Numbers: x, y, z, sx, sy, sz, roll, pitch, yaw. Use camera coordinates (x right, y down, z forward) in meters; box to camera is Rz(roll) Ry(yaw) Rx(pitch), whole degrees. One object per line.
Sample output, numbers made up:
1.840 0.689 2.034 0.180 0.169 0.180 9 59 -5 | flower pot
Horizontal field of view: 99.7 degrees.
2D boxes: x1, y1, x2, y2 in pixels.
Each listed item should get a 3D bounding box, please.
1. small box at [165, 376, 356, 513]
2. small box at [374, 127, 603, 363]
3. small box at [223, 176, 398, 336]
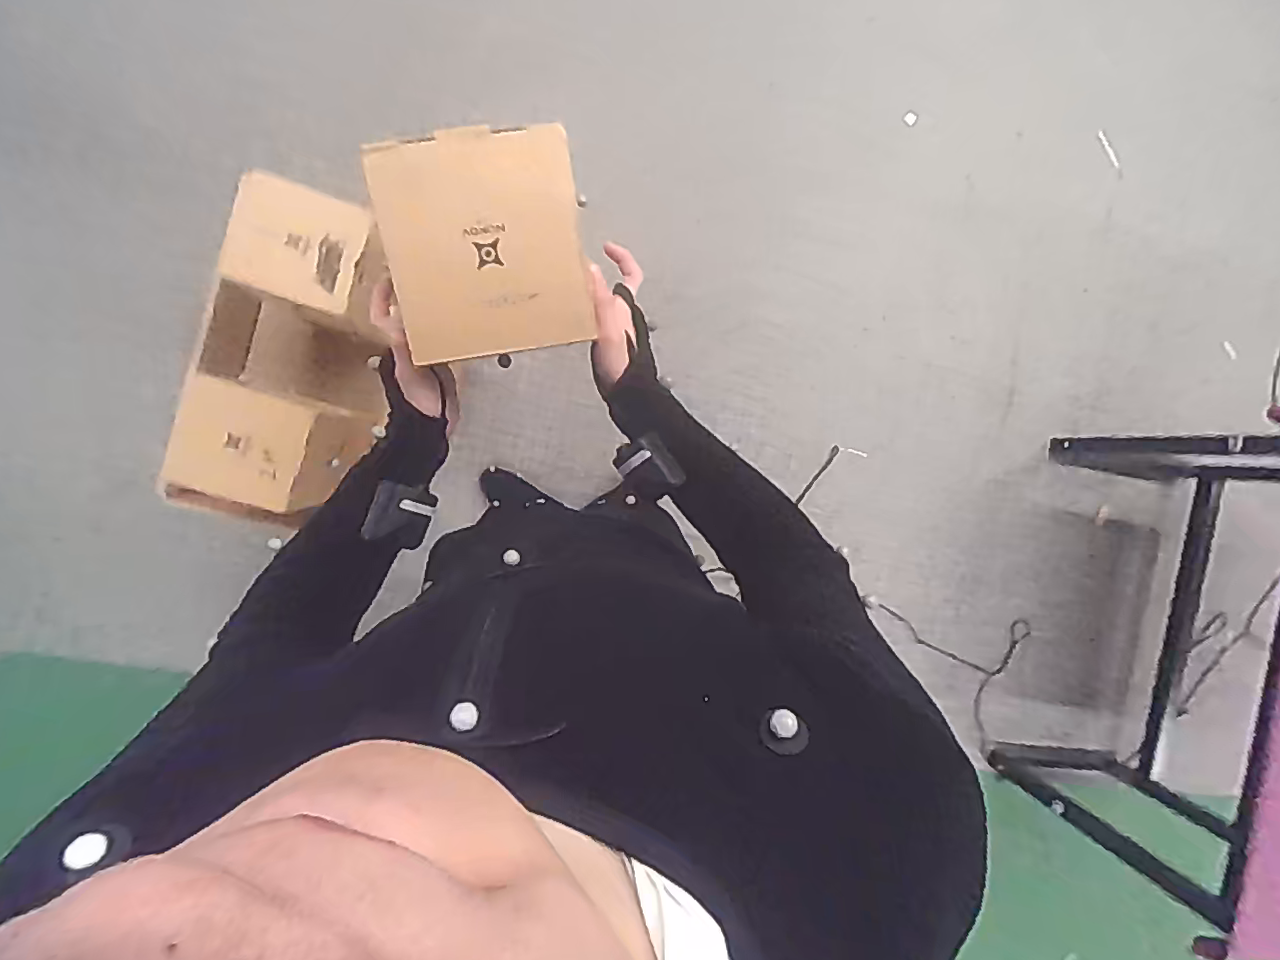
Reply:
-0.605 -0.055 0.886 0.179 0.176 0.168 18 91 -10 | small box
-0.133 -0.215 0.532 0.168 0.176 0.179 -8 107 -5 | small box
-0.520 -0.349 0.885 0.179 0.176 0.168 17 89 -10 | small box
